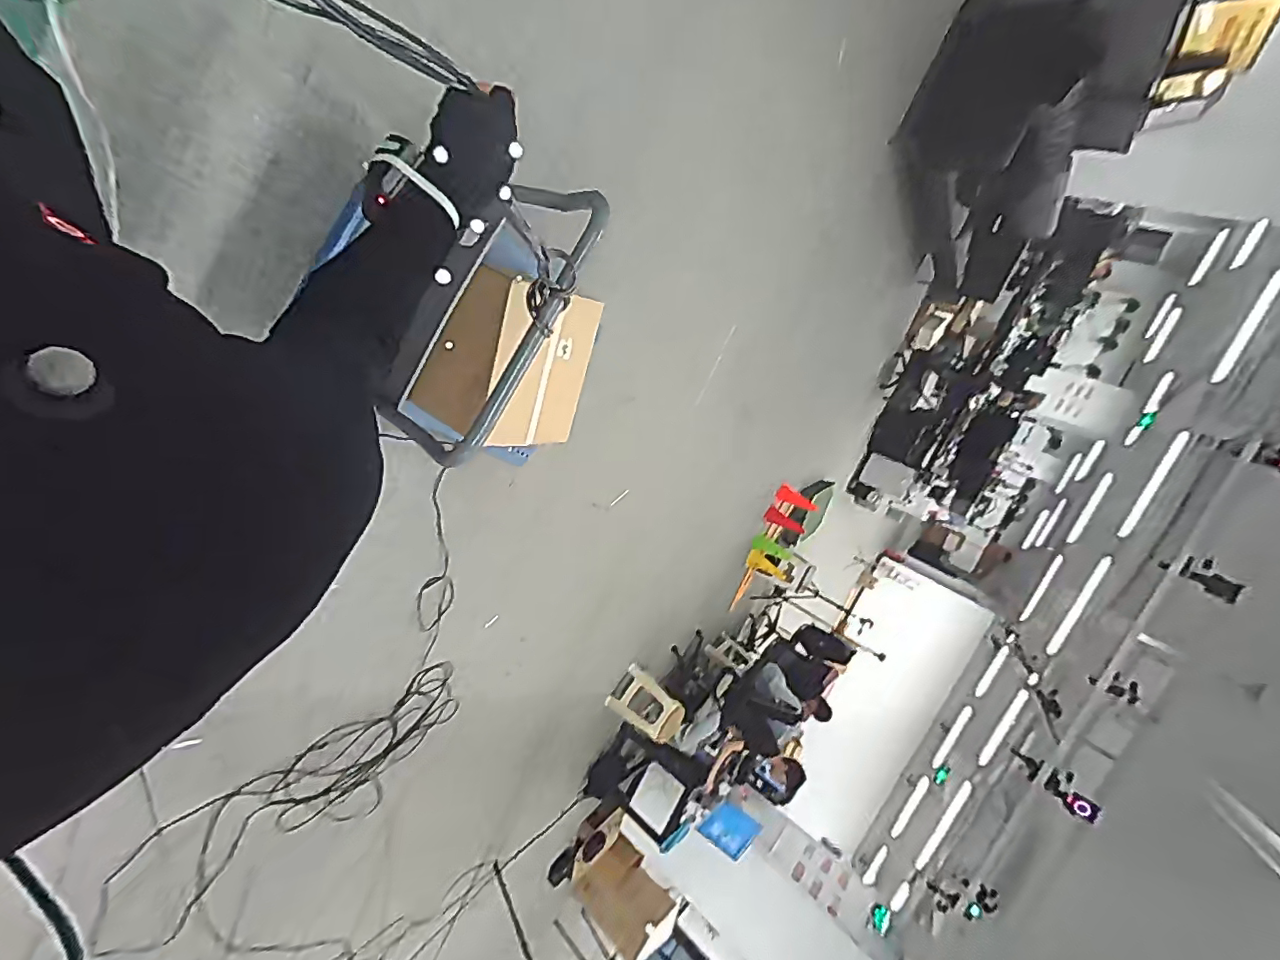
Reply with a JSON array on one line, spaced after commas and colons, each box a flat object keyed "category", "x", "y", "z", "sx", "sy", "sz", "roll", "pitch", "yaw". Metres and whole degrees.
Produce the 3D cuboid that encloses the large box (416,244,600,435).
[{"category": "large box", "x": -0.362, "y": -0.363, "z": 1.452, "sx": 0.320, "sy": 0.320, "sz": 0.408, "roll": -8, "pitch": 122, "yaw": -53}]
